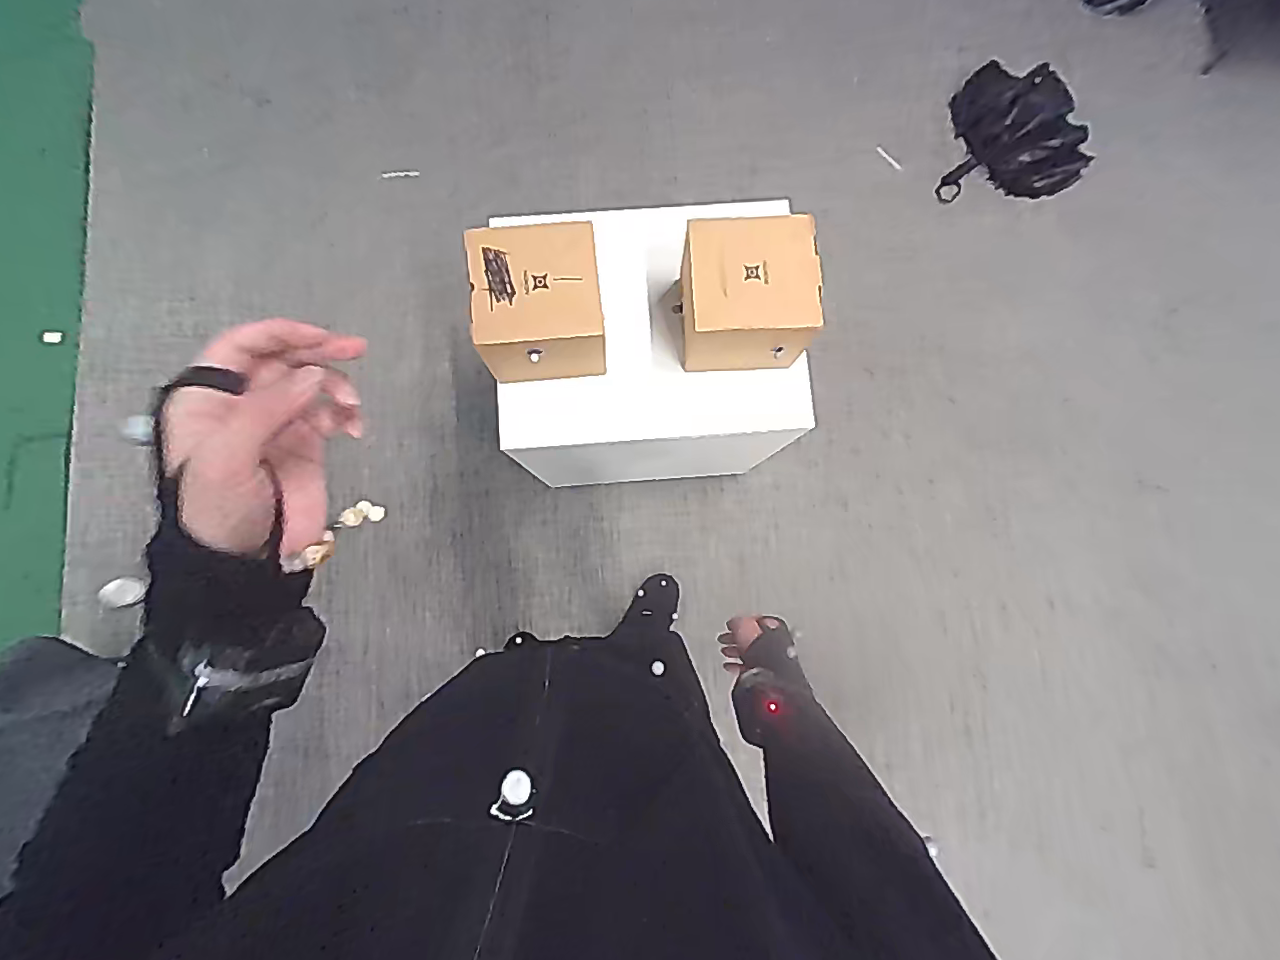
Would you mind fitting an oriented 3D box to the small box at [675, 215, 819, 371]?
[{"bbox_3d":[0.148,-0.267,0.804,0.179,0.176,0.168,-2,82,0],"label":"small box"}]

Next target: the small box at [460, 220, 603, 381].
[{"bbox_3d":[-0.150,-0.252,0.794,0.179,0.176,0.168,-6,83,-4],"label":"small box"}]
